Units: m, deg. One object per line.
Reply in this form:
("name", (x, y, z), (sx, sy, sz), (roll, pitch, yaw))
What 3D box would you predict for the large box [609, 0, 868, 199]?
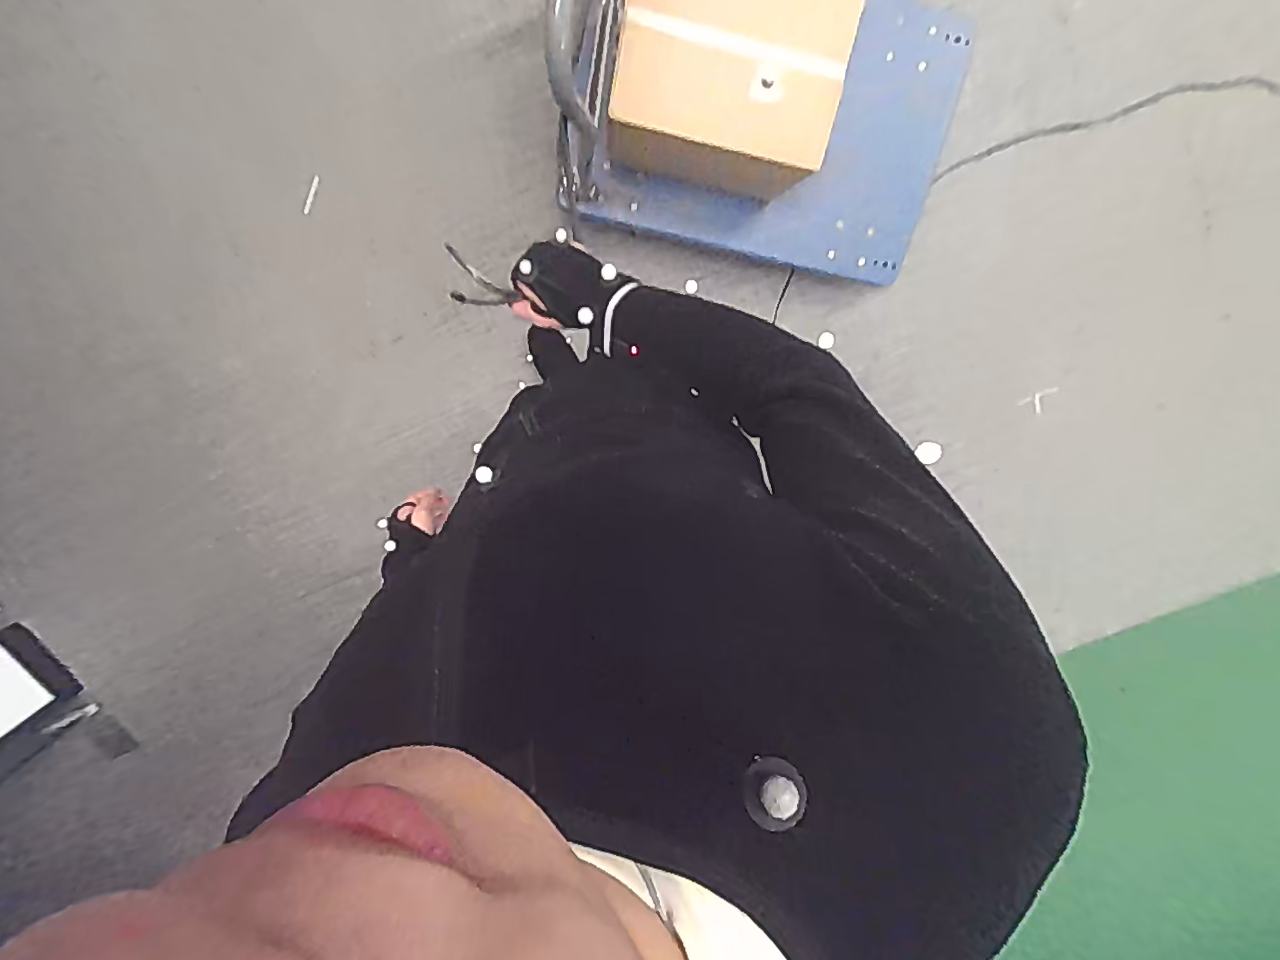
("large box", (0.160, -0.790, 1.070), (0.408, 0.320, 0.320), (10, 108, -8))
